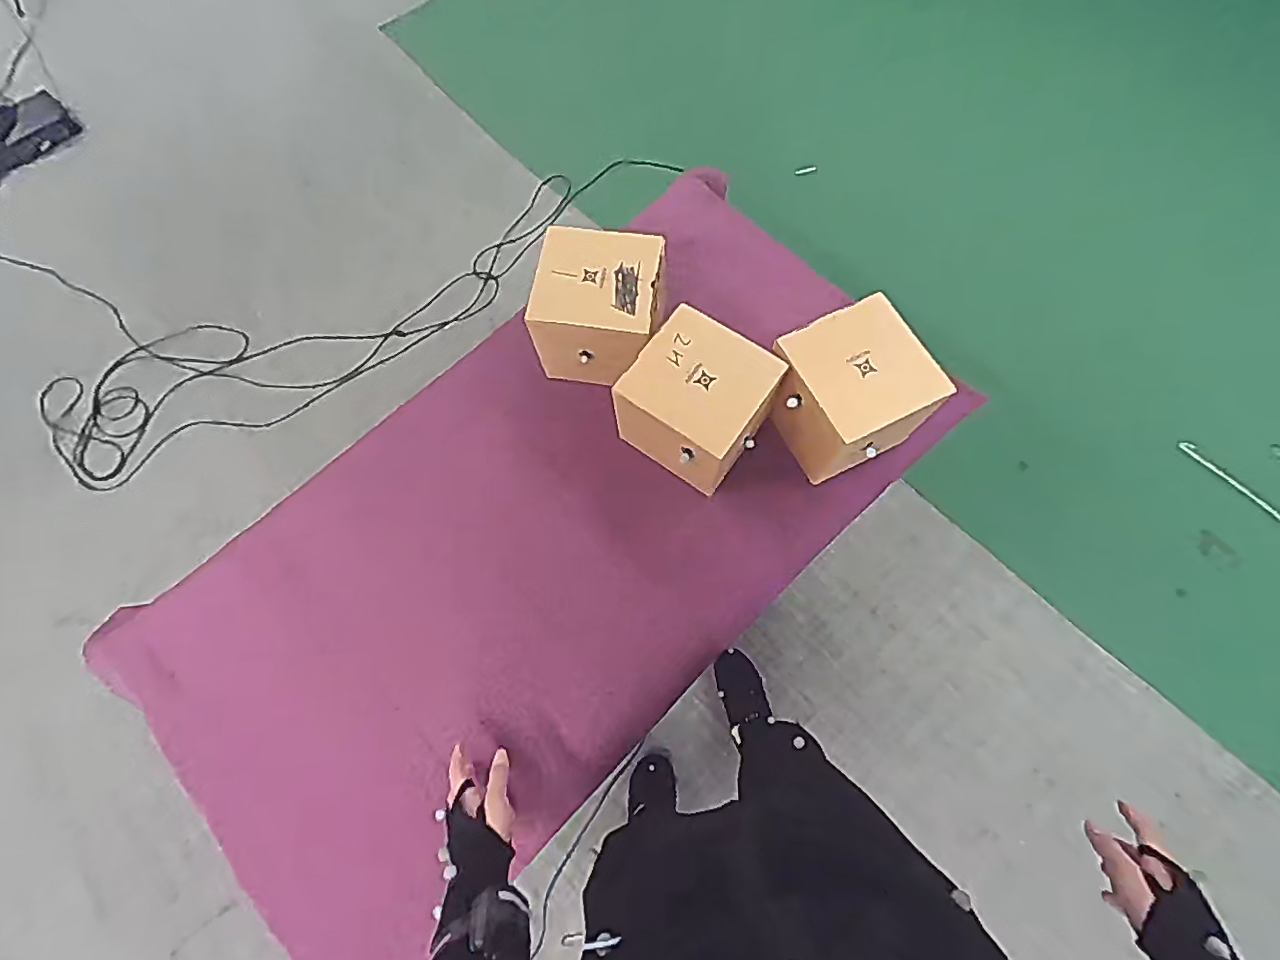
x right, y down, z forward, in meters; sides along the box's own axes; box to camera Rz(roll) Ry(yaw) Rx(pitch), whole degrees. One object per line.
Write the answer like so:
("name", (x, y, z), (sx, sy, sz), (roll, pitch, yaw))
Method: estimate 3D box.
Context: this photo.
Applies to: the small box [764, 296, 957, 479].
("small box", (0.298, -0.118, 0.773), (0.168, 0.176, 0.179), (-25, 70, -5))
